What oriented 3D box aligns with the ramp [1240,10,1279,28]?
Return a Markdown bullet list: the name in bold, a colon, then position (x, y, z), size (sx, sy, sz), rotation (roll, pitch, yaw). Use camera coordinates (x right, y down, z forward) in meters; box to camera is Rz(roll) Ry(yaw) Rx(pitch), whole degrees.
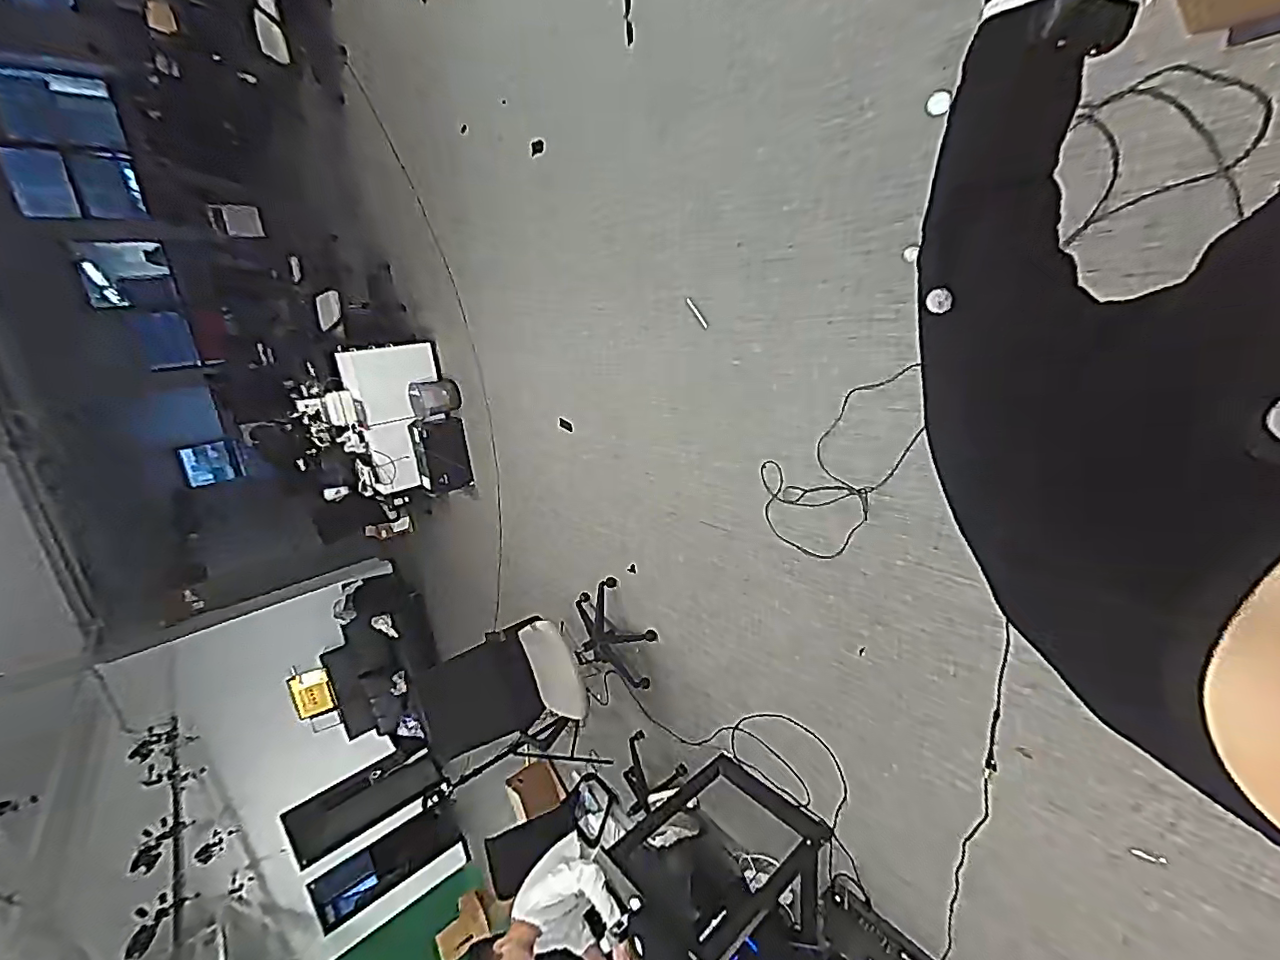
- **ramp**: position (1.052, -1.159, 0.535), size (0.509, 0.206, 0.991), rotation (12, 115, 48)
